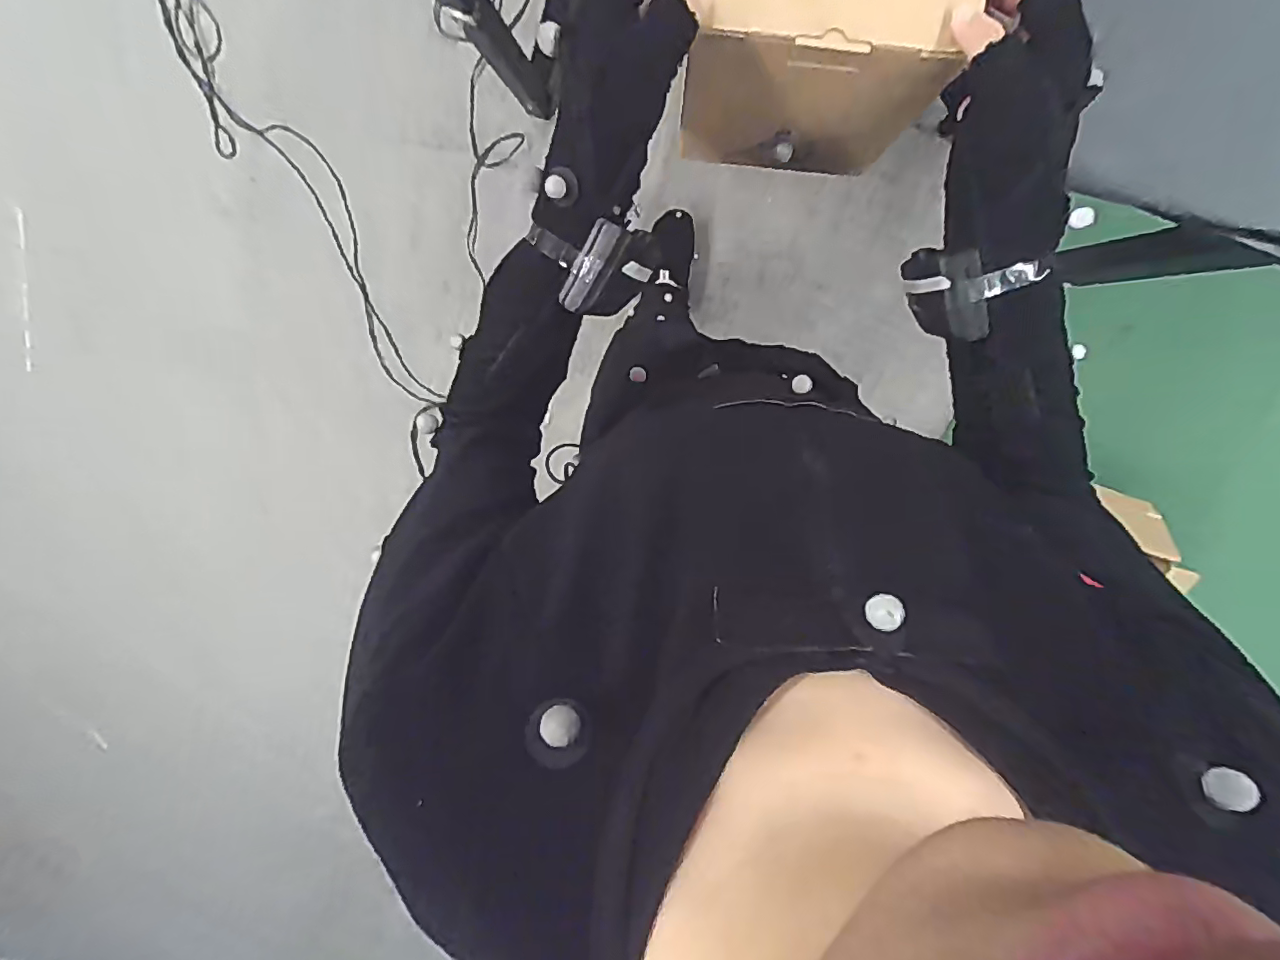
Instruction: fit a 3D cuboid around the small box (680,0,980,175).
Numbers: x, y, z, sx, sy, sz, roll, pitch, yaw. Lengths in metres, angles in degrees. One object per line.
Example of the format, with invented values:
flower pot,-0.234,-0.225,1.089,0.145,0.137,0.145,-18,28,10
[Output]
small box,0.121,-0.350,0.381,0.168,0.176,0.179,6,98,0
